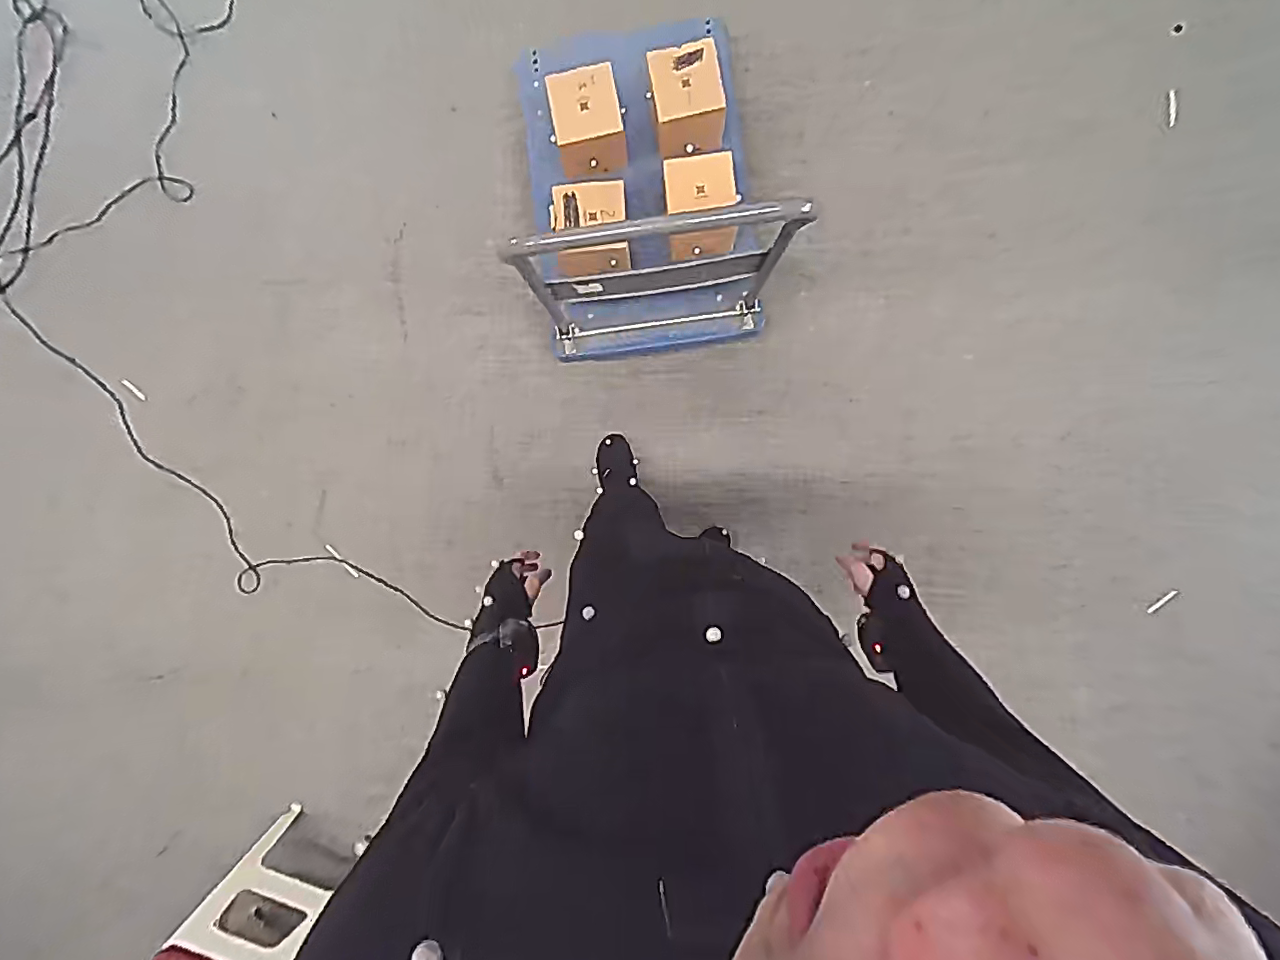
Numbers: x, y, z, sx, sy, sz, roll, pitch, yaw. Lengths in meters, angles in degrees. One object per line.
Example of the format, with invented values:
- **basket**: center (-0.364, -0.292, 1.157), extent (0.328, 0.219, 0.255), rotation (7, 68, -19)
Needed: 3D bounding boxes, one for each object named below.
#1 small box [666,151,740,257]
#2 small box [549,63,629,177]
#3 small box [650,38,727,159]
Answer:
- **small box**: center (0.155, -0.696, 1.378), extent (0.168, 0.176, 0.179), rotation (-6, 89, 3)
- **small box**: center (-0.126, -0.916, 1.398), extent (0.168, 0.176, 0.179), rotation (-11, 88, 3)
- **small box**: center (0.121, -0.965, 1.383), extent (0.168, 0.176, 0.179), rotation (-10, 90, 4)
